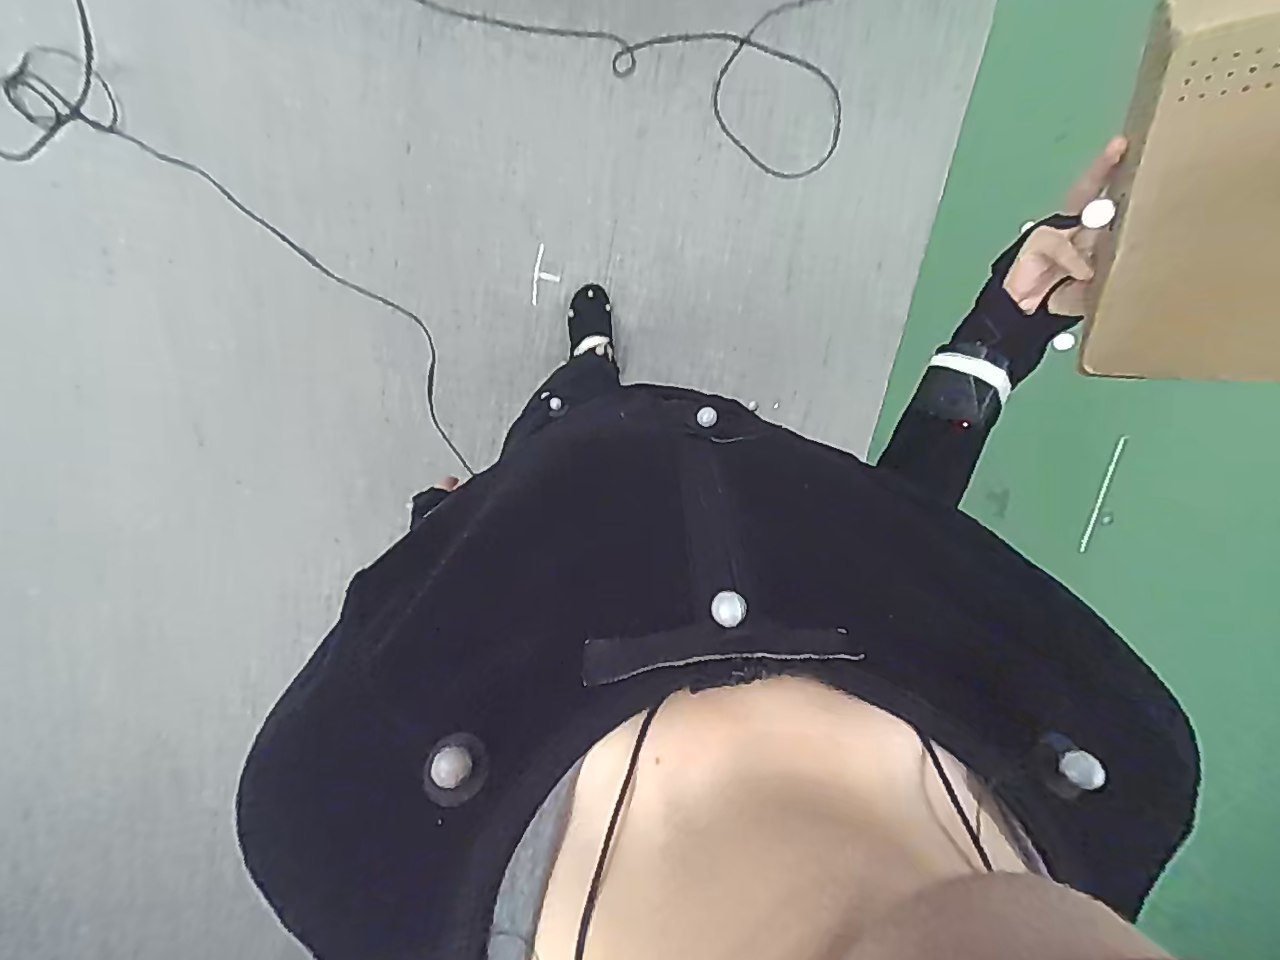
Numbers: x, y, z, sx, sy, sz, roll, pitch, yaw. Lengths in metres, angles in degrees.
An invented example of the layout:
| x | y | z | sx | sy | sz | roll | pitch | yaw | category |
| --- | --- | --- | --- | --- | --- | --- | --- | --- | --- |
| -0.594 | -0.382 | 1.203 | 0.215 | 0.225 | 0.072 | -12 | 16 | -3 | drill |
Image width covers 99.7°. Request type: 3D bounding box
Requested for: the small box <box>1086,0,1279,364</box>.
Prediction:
| x | y | z | sx | sy | sz | roll | pitch | yaw | category |
| --- | --- | --- | --- | --- | --- | --- | --- | --- | --- |
| 0.347 | -0.173 | 0.270 | 0.179 | 0.168 | 0.176 | -51 | 138 | -34 | small box |
